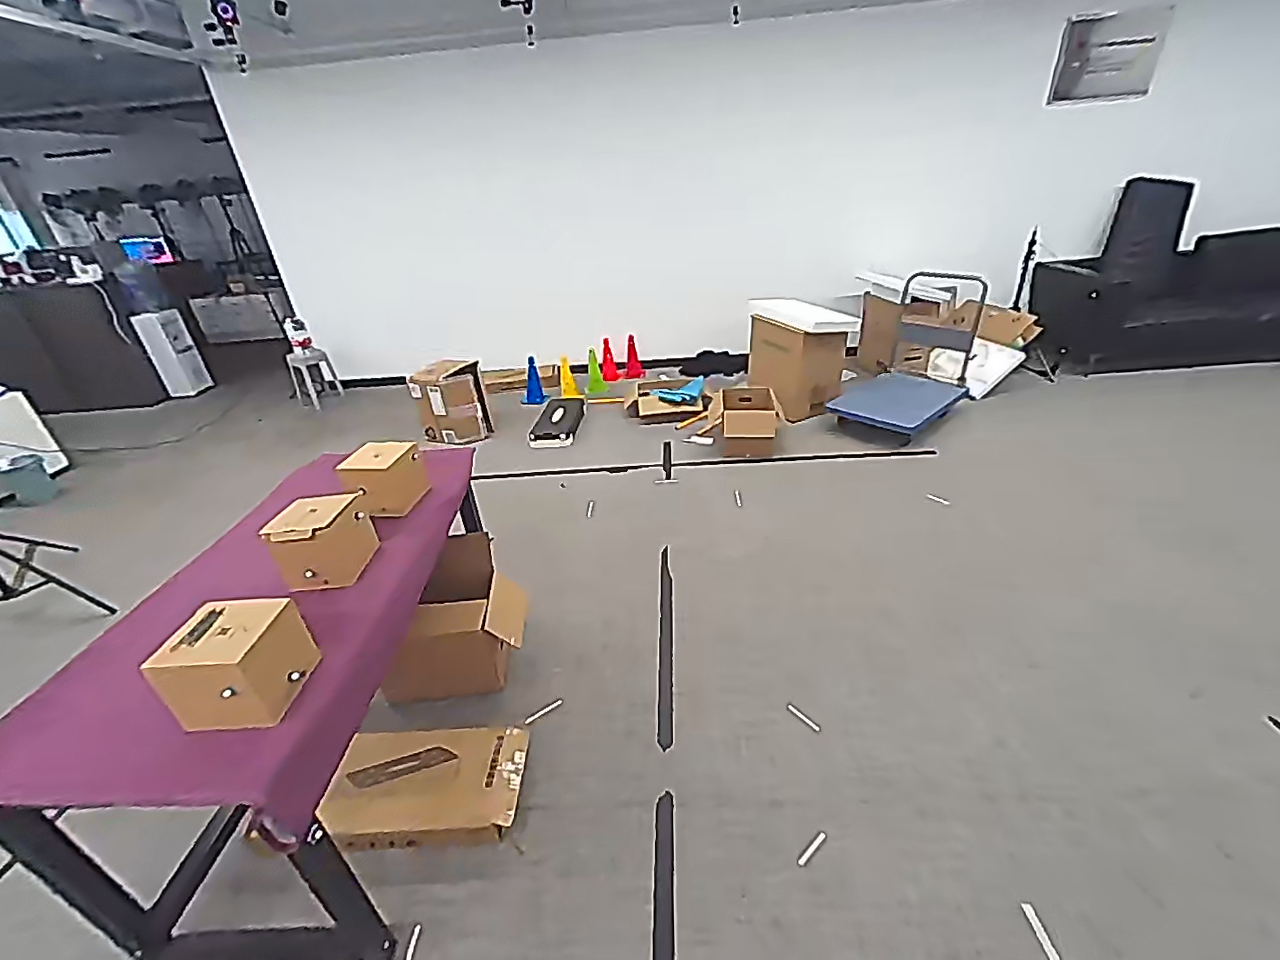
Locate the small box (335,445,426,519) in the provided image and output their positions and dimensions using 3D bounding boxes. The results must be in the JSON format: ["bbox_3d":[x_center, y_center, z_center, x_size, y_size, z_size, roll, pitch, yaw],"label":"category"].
[{"bbox_3d":[-0.776,0.007,1.641,0.168,0.176,0.179,-1,29,8],"label":"small box"}]

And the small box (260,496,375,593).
[{"bbox_3d":[-0.797,0.162,1.364,0.168,0.176,0.179,-6,29,3],"label":"small box"}]
